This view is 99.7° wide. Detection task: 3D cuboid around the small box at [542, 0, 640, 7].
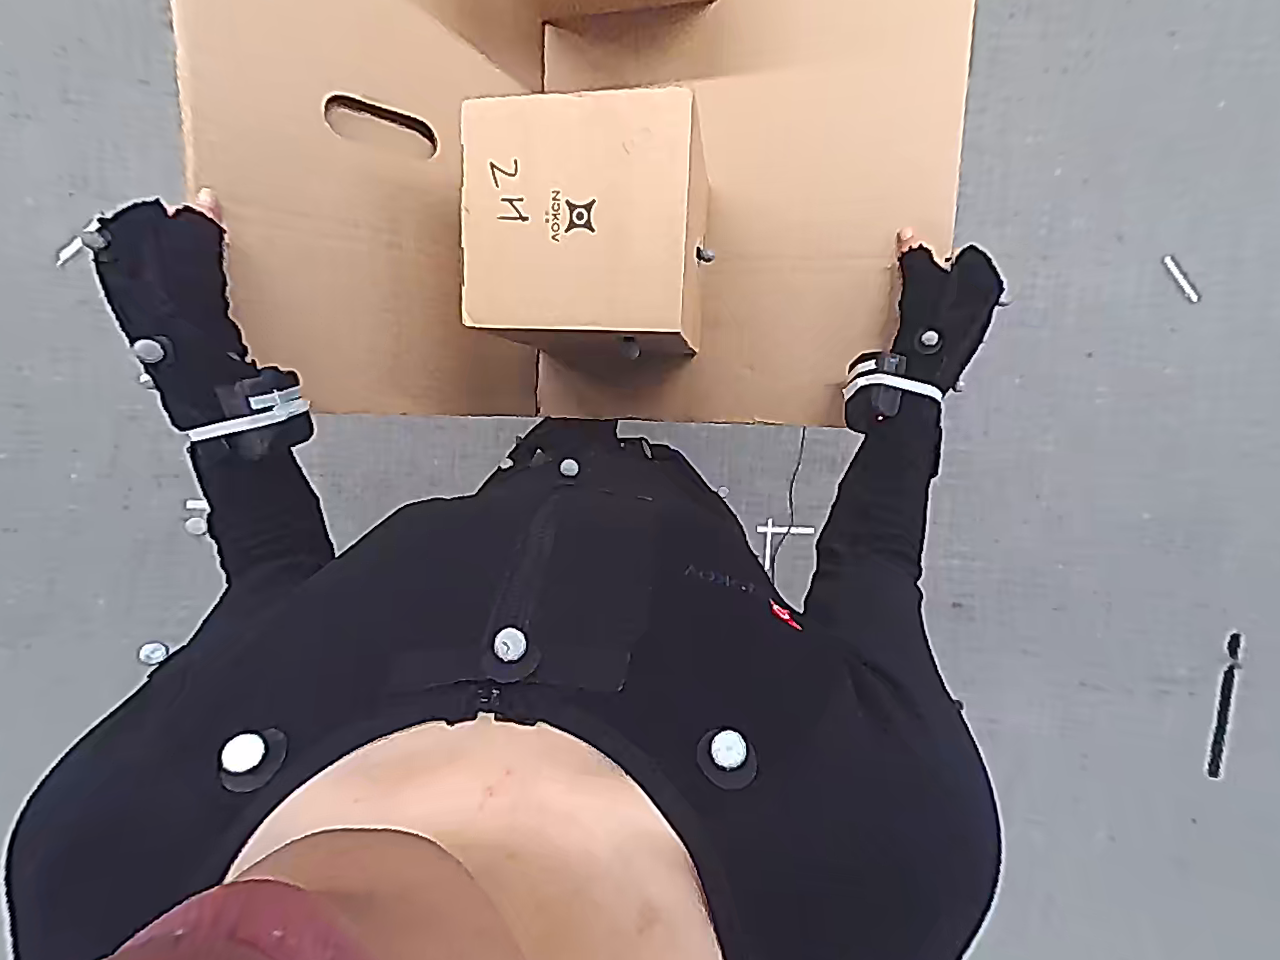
[{"bbox_3d":[-0.029,-0.535,0.440,0.179,0.176,0.168,2,98,10],"label":"small box"}]
